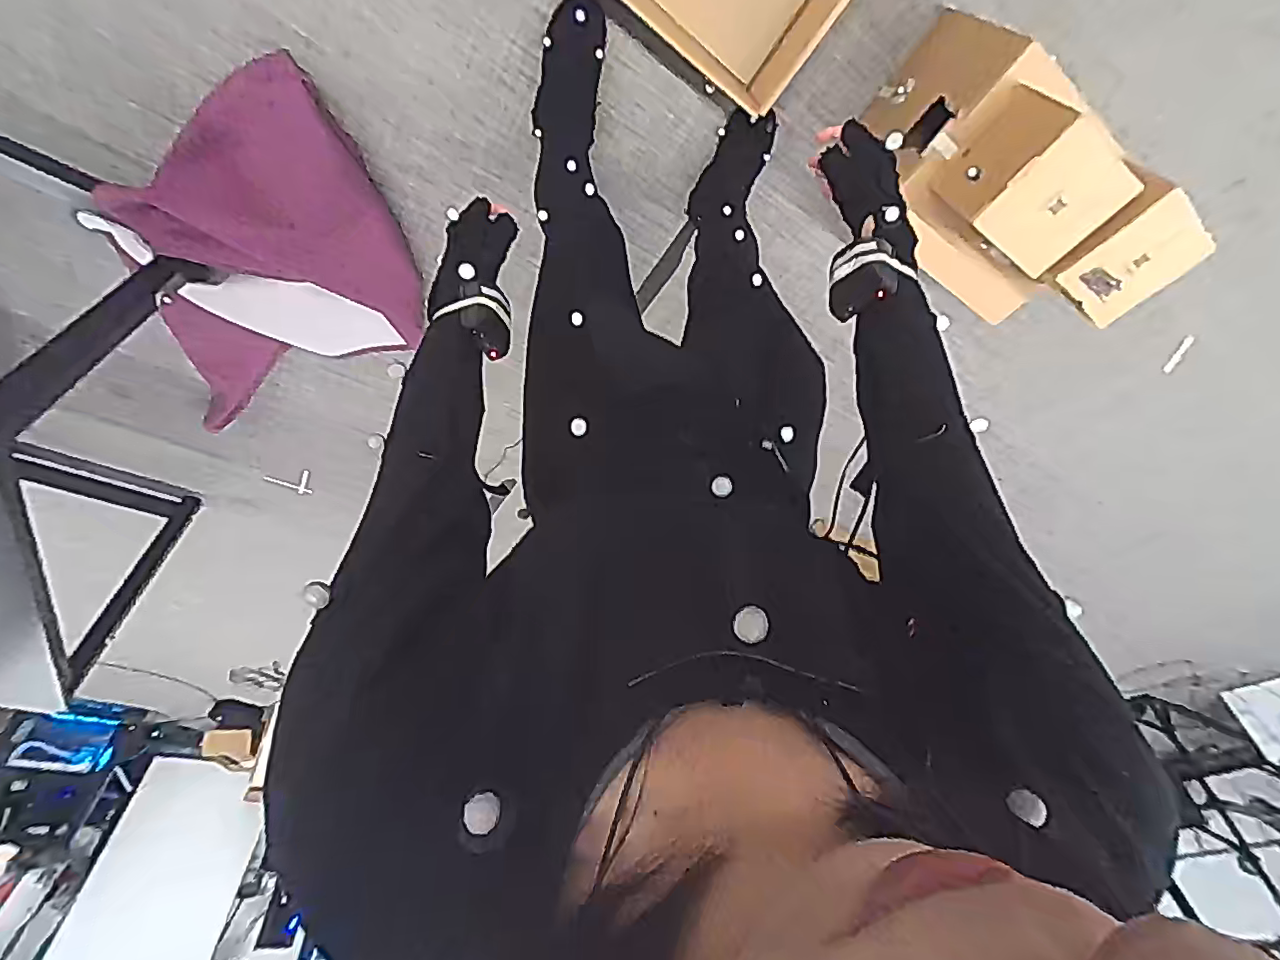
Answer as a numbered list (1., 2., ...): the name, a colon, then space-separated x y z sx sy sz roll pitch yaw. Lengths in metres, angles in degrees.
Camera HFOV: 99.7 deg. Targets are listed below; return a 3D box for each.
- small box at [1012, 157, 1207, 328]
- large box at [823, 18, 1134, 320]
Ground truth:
1. small box: 0.780 -0.403 0.921 0.168 0.176 0.179 26 129 -27
2. large box: 0.645 -0.597 1.065 0.408 0.320 0.320 21 133 -25
